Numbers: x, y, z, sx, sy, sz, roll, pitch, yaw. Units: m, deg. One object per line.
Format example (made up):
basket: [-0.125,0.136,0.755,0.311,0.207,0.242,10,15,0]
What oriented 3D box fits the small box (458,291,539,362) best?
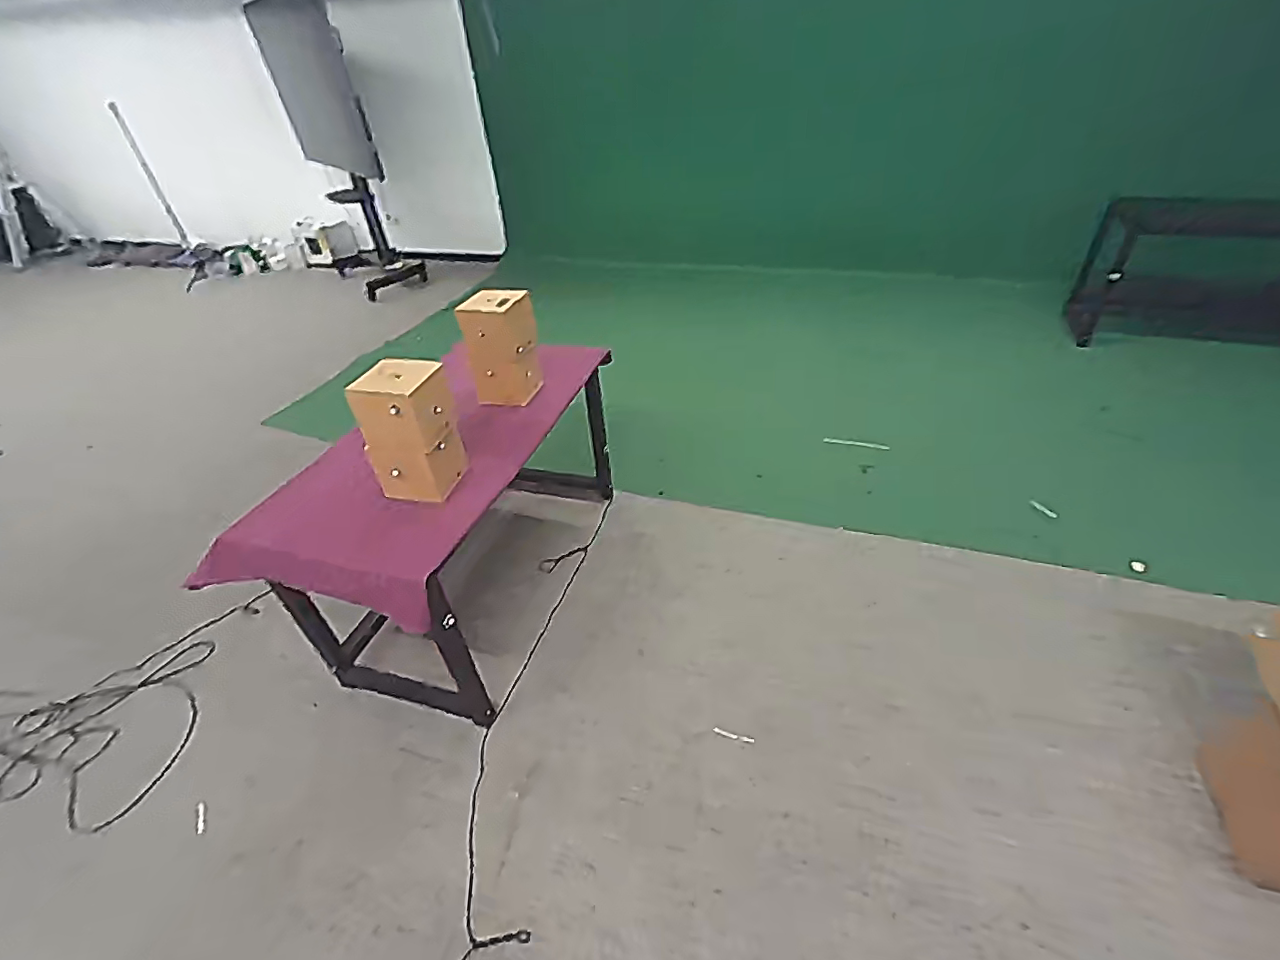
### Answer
small box: [-0.444,-0.490,1.730,0.179,0.176,0.168,8,41,19]

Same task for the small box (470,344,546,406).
small box: [-0.439,-0.363,1.836,0.179,0.176,0.168,6,41,16]

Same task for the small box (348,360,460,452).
small box: [-0.584,-0.185,1.366,0.179,0.176,0.168,6,39,13]

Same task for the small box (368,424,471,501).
small box: [-0.591,-0.058,1.473,0.179,0.176,0.168,5,40,12]
